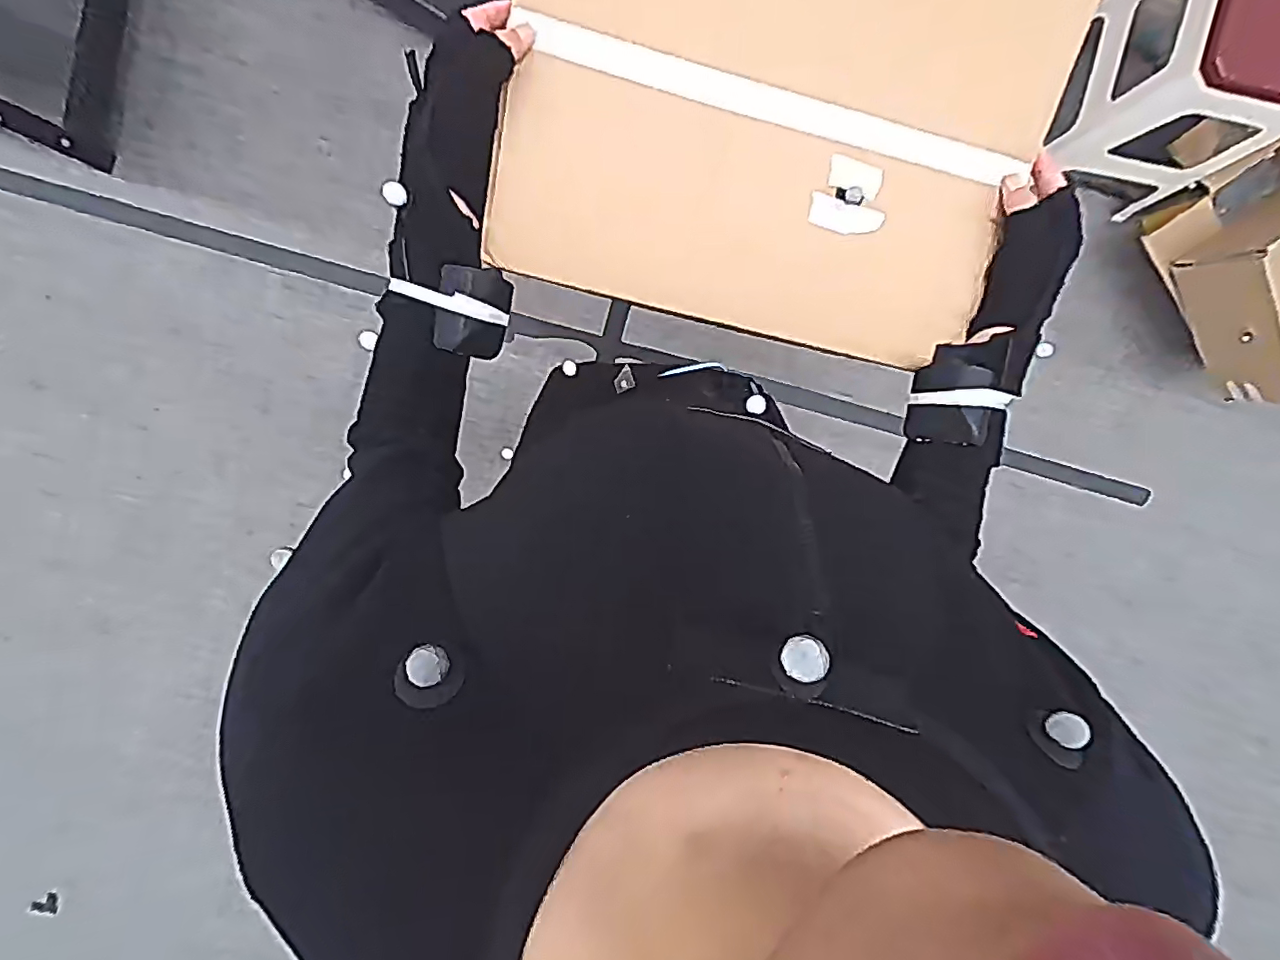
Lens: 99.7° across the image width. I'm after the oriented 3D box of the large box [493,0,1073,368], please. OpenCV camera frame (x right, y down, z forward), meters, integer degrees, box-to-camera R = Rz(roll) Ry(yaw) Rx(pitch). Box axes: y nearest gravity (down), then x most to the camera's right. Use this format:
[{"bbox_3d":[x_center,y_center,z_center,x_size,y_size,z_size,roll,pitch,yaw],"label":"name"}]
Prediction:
[{"bbox_3d":[0.091,-0.323,0.555,0.408,0.320,0.320,11,108,-9],"label":"large box"}]
